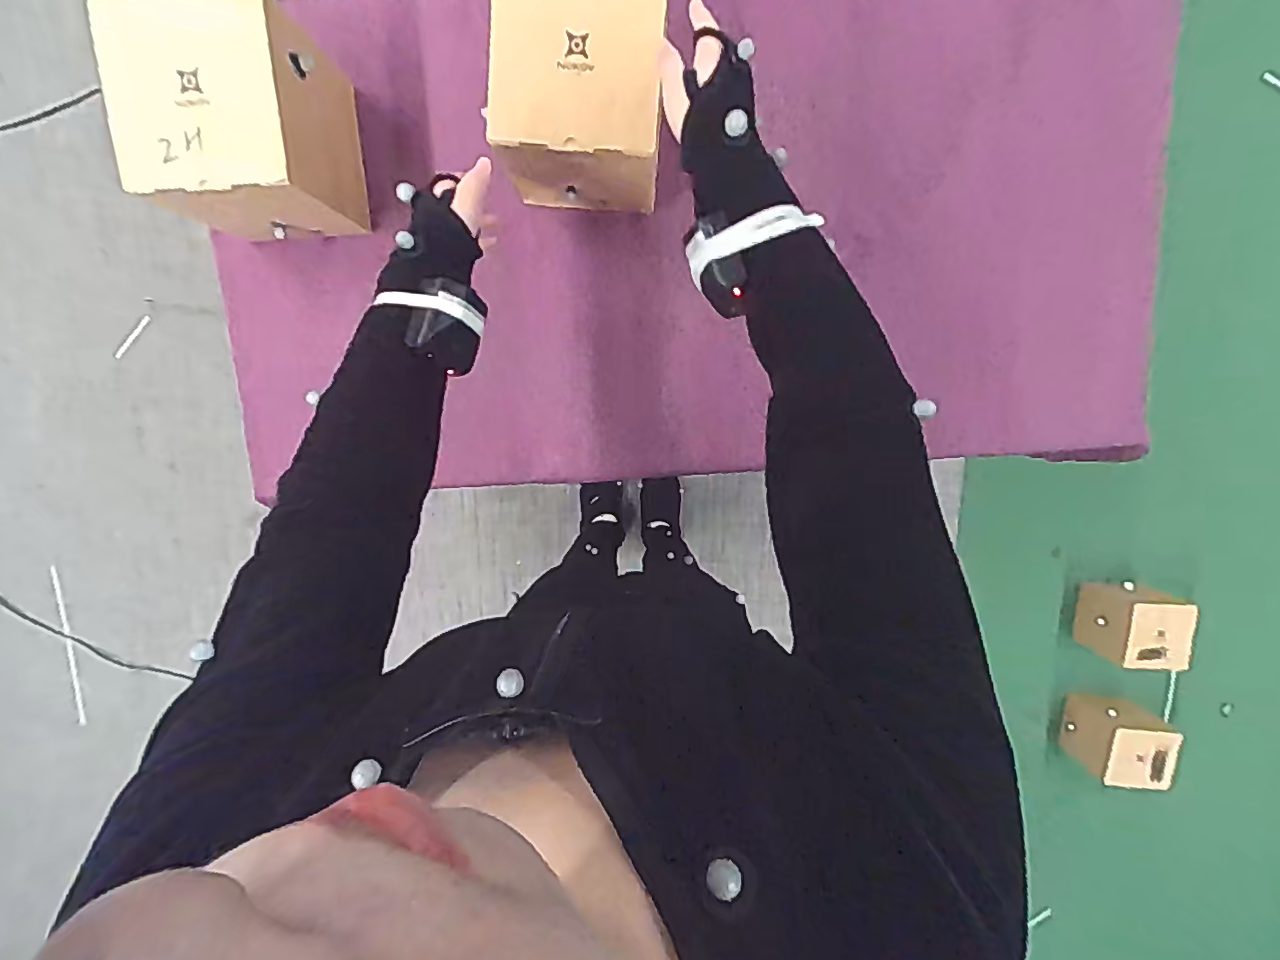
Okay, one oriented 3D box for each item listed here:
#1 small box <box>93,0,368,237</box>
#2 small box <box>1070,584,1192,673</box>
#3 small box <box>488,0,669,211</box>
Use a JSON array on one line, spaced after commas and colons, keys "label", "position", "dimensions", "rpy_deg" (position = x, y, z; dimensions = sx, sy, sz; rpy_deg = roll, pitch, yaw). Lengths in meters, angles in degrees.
[{"label": "small box", "position": [-0.427, -0.386, 0.596], "dimensions": [0.168, 0.176, 0.179], "rpy_deg": [-2, 99, 1]}, {"label": "small box", "position": [1.300, 0.392, 1.446], "dimensions": [0.168, 0.176, 0.179], "rpy_deg": [3, 98, 0]}, {"label": "small box", "position": [-0.060, -0.421, 0.592], "dimensions": [0.168, 0.176, 0.179], "rpy_deg": [5, 100, 0]}]
